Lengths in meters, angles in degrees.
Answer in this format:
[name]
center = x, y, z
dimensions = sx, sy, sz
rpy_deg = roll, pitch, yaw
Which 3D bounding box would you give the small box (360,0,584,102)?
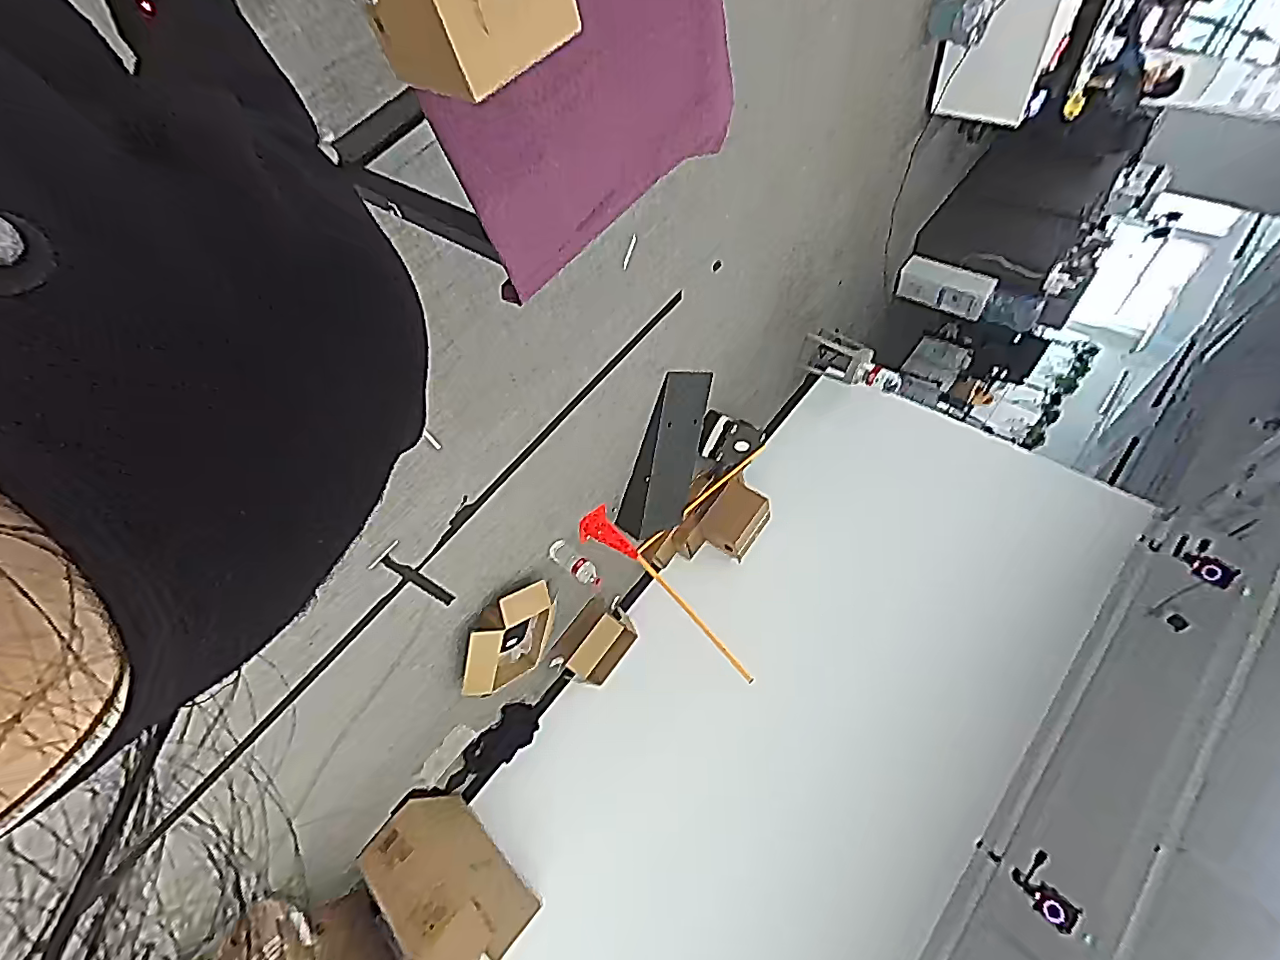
[small box]
center = -0.196, -0.554, 0.586
dimensions = 0.179, 0.176, 0.168
rpy_deg = -47, 150, -15
